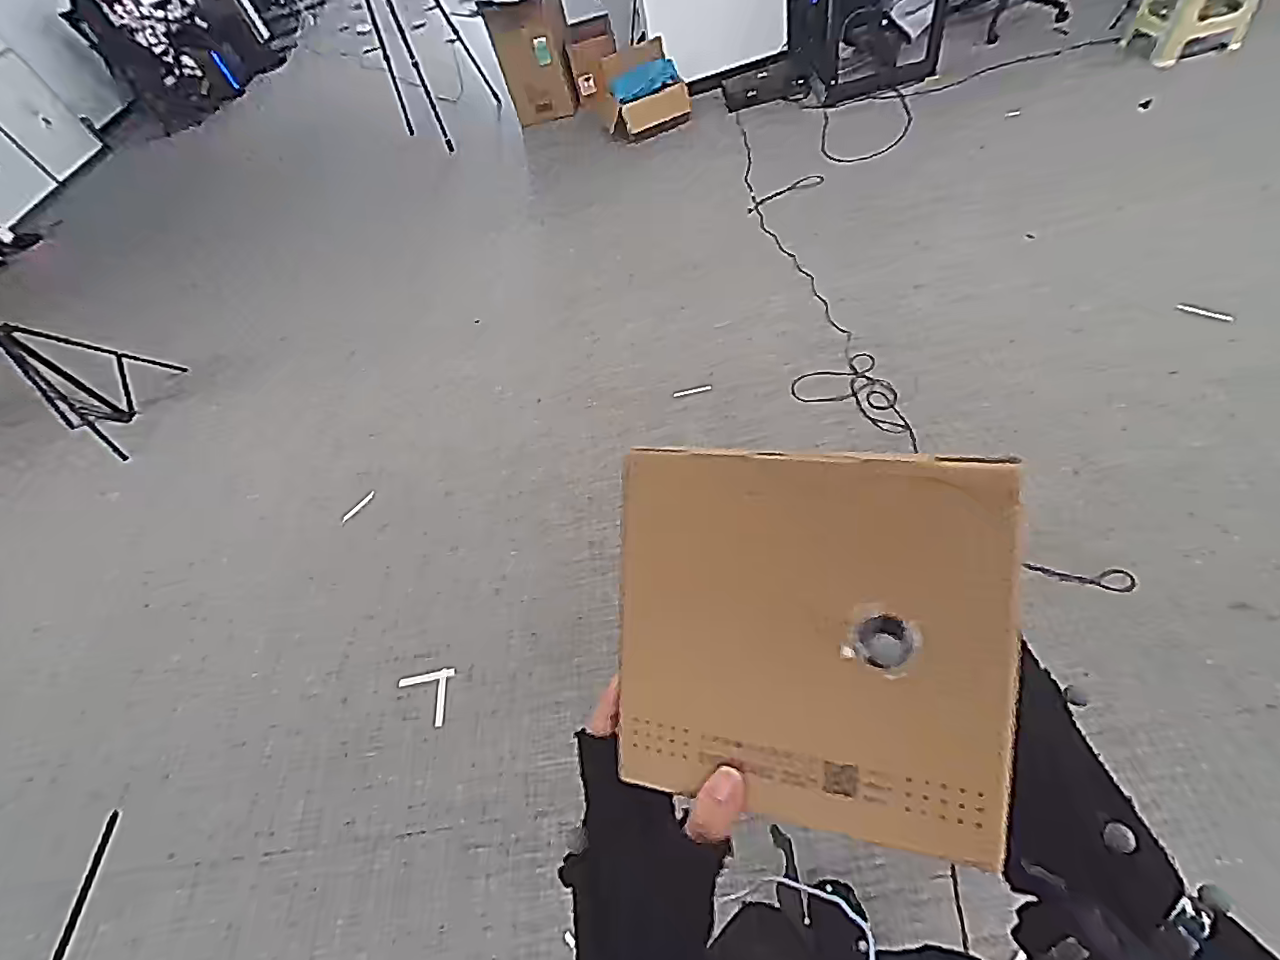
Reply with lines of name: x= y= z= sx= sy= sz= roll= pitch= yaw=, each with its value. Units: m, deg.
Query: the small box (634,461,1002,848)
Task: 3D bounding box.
small box: x=0.102 y=0.076 z=0.331 sx=0.168 sy=0.179 sz=0.176 roll=3 pitch=94 yaw=20
